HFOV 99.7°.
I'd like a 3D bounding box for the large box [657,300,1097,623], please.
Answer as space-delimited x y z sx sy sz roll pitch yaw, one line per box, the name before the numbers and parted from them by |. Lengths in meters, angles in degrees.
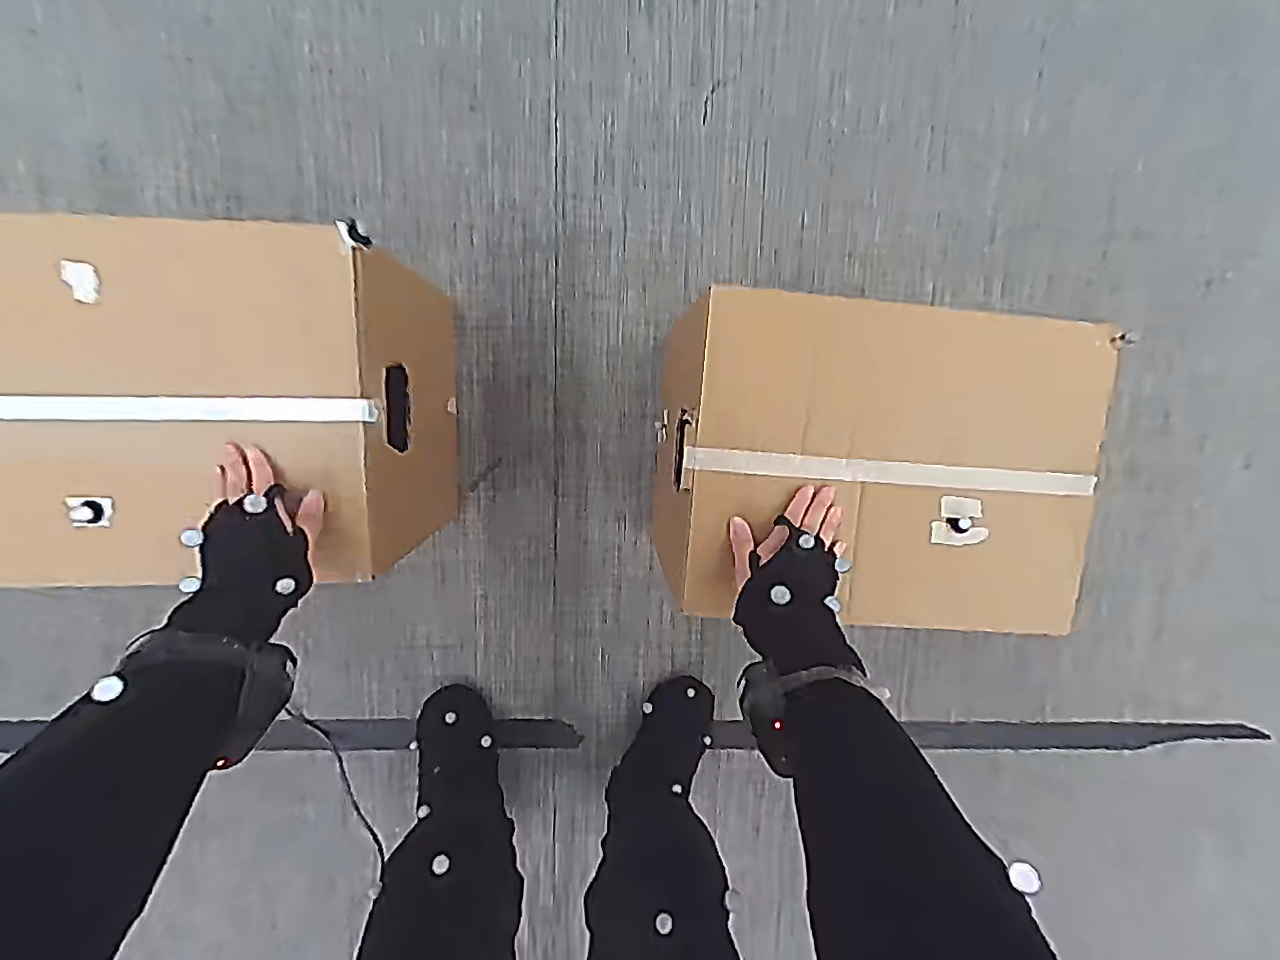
large box | 0.242 -0.024 0.689 0.408 0.320 0.320 4 97 -6
